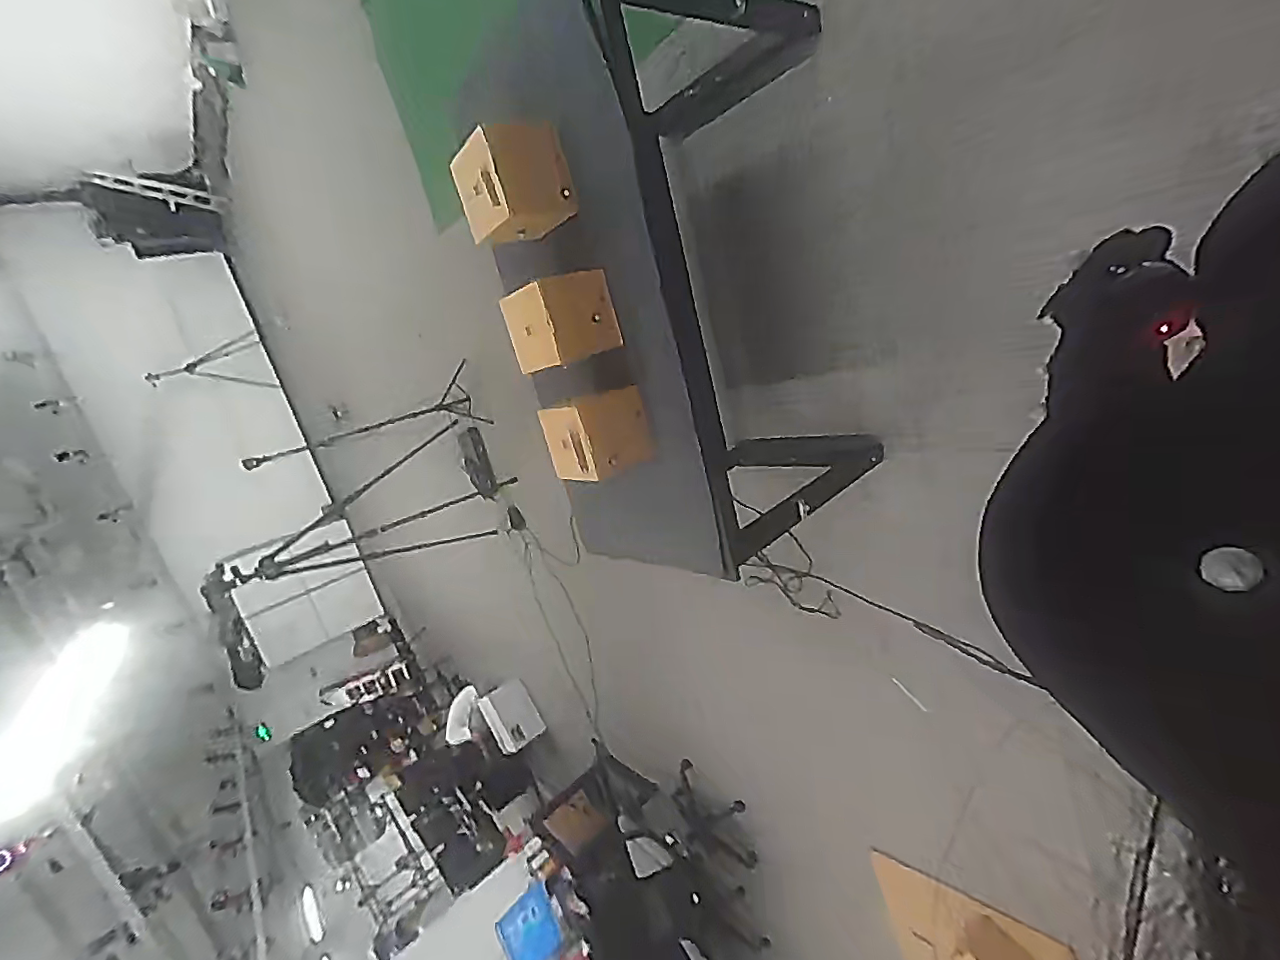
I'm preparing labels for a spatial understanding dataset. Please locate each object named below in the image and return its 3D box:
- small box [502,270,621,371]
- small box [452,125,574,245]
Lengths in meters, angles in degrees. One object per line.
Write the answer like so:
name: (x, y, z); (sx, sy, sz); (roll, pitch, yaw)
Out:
small box: (-0.168, -0.343, 1.173); (0.179, 0.176, 0.168); (1, 111, 51)
small box: (-0.255, -0.607, 1.118); (0.179, 0.176, 0.168); (1, 112, 52)
